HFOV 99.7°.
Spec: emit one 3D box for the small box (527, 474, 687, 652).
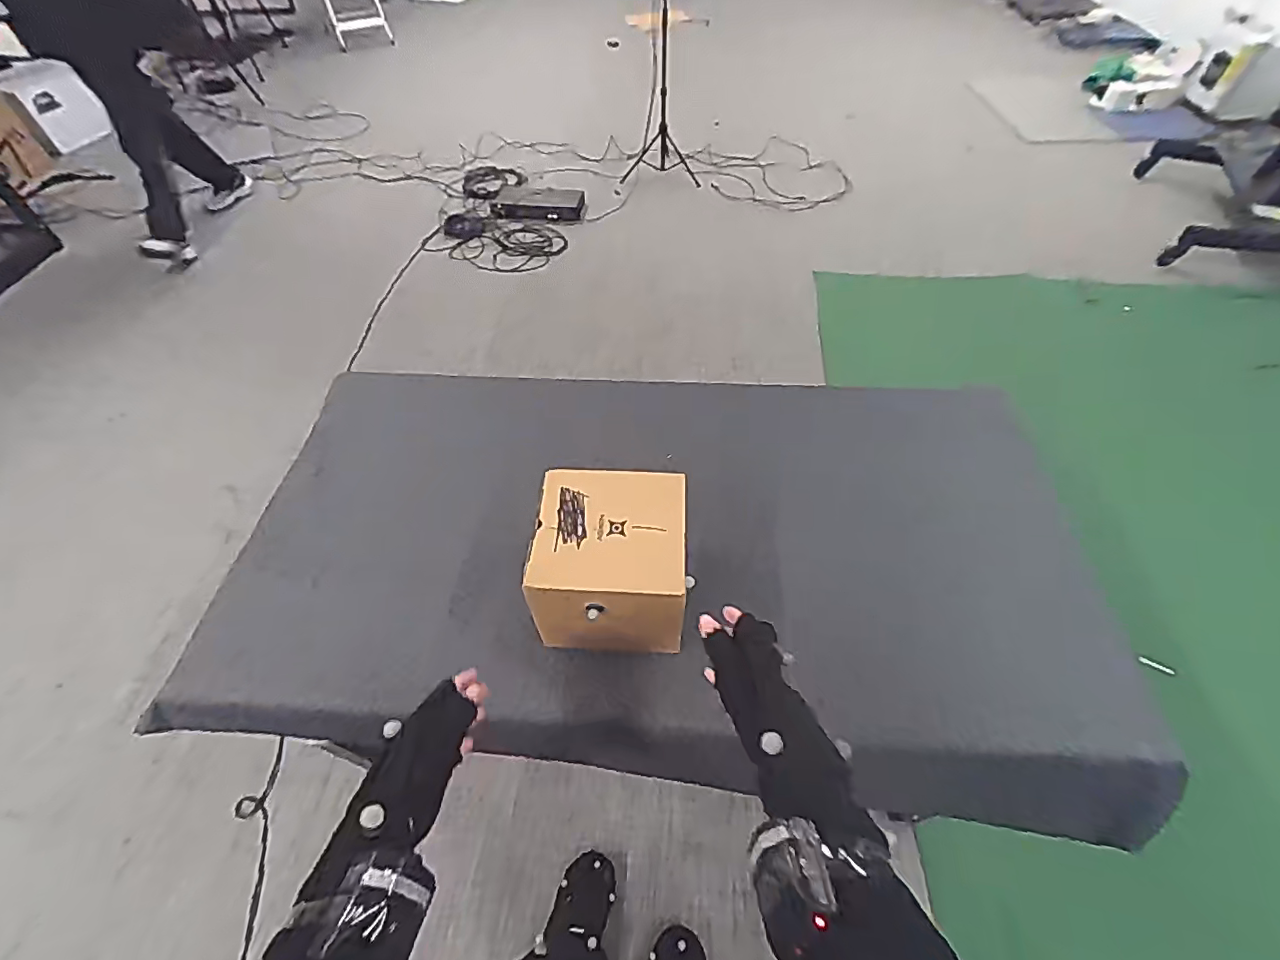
[{"bbox_3d":[-0.031,0.110,0.692,0.179,0.176,0.168,2,52,2],"label":"small box"}]
